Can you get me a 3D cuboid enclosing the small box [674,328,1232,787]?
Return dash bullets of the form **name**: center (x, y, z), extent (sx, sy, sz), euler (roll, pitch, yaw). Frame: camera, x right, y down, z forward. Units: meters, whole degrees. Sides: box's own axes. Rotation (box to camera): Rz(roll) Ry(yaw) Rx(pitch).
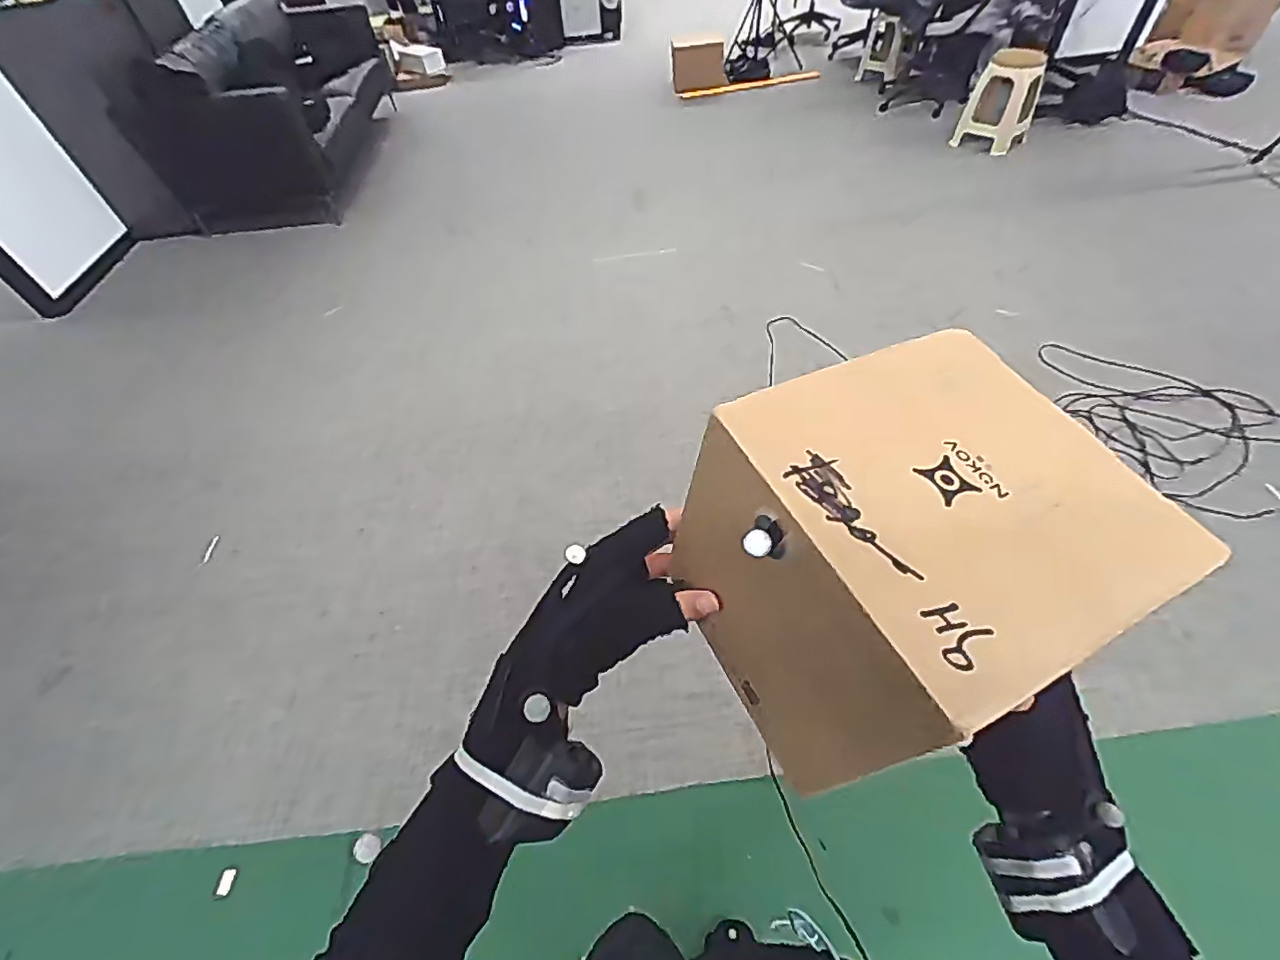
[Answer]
- **small box**: center (0.139, 0.045, 0.309), extent (0.179, 0.176, 0.168), euler (-19, 58, -20)
